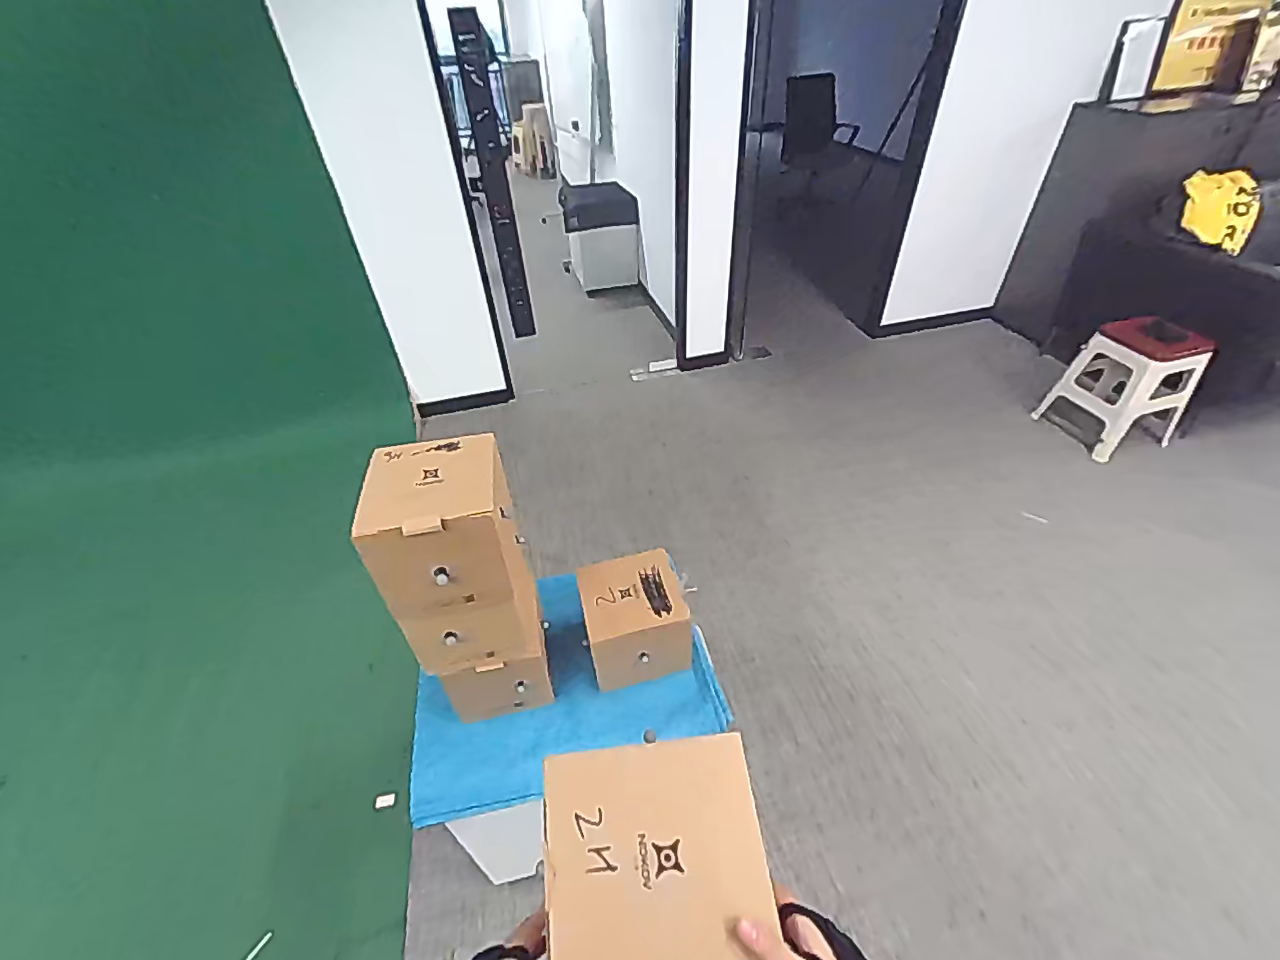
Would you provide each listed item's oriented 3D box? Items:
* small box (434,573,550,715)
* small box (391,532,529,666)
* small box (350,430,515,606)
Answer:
[{"bbox_3d":[-0.256,0.297,0.965,0.168,0.176,0.179,-8,40,-9],"label":"small box"},{"bbox_3d":[-0.272,0.176,0.859,0.168,0.176,0.179,-8,40,-7],"label":"small box"},{"bbox_3d":[-0.269,0.057,0.746,0.168,0.176,0.179,-8,40,-8],"label":"small box"}]
